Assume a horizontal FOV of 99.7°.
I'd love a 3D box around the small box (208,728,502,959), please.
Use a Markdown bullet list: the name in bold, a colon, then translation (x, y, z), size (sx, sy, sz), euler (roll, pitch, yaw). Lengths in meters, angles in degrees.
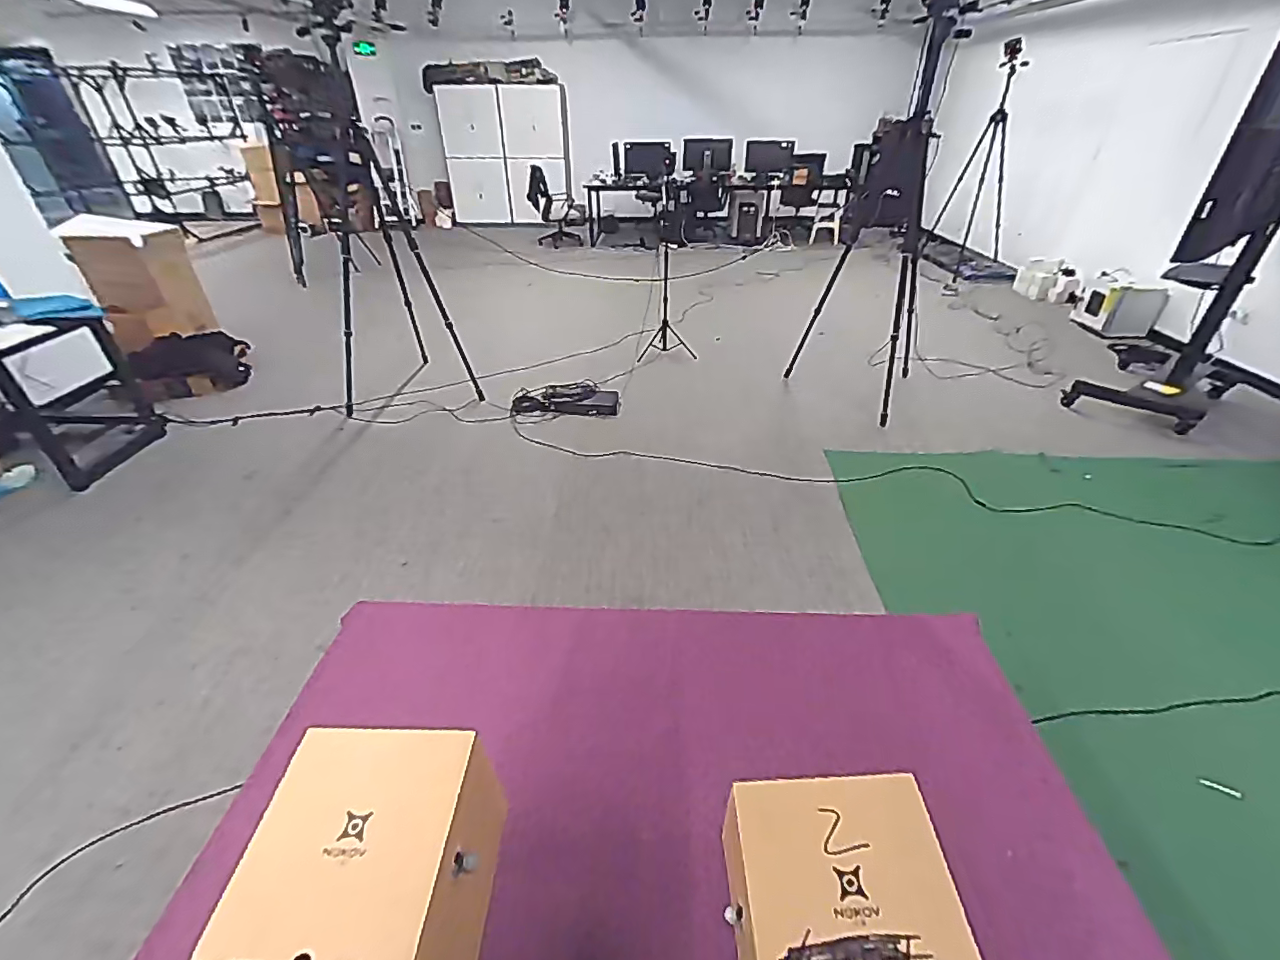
- **small box**: translation (-0.239, 0.362, 0.514), size (0.168, 0.176, 0.179), euler (0, 40, 3)
